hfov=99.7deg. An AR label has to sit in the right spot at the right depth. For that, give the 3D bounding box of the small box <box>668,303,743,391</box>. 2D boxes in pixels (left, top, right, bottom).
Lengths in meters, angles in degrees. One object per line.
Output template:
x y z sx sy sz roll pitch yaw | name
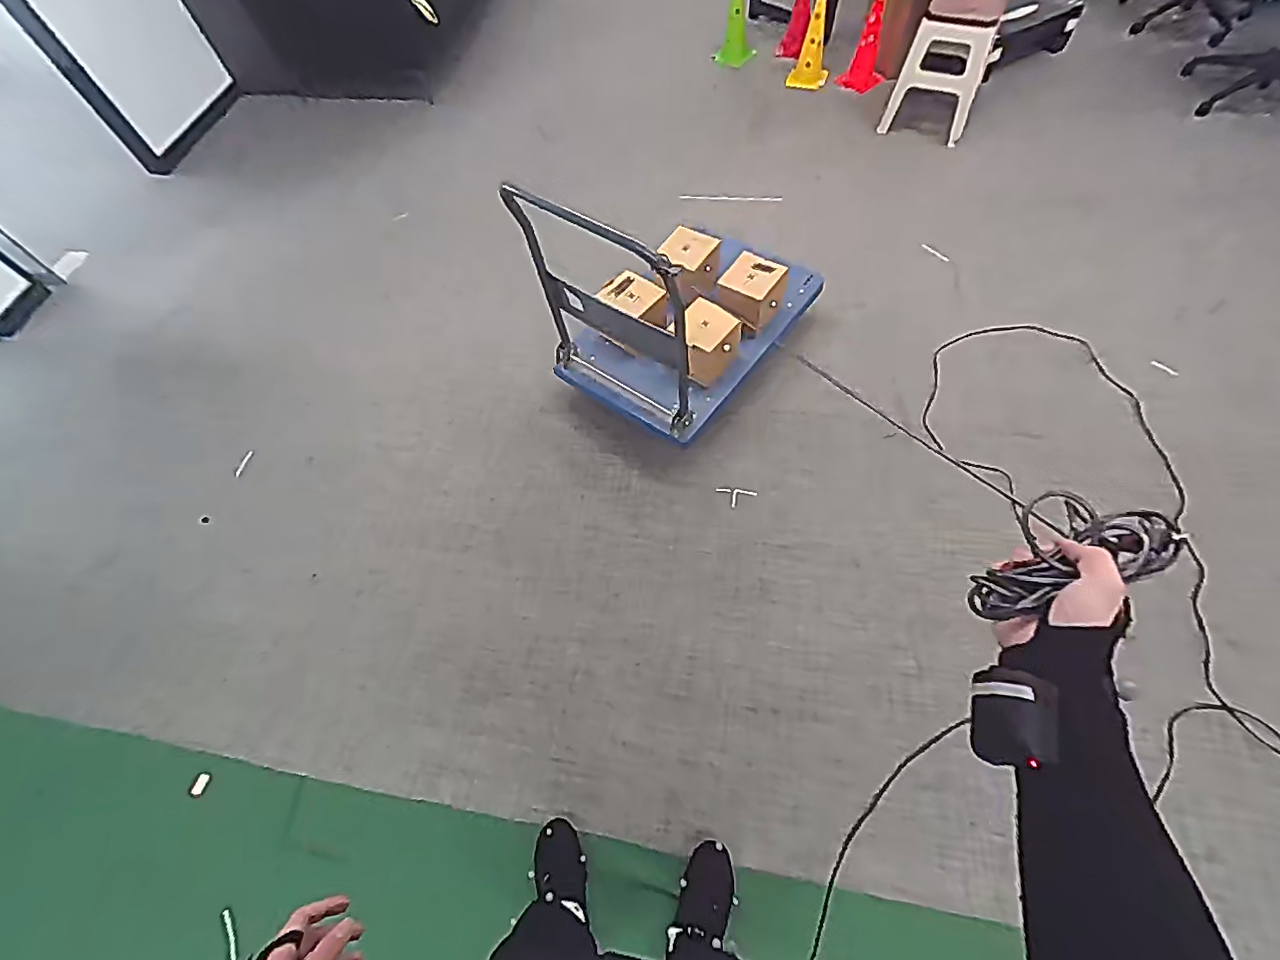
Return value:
0.203 -0.419 1.719 0.168 0.176 0.179 34 70 21 | small box

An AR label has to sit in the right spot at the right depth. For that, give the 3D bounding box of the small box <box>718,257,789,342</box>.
0.369 -0.599 1.801 0.168 0.176 0.179 31 69 21 | small box

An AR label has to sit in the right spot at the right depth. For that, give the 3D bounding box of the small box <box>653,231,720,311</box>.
0.164 -0.726 1.891 0.168 0.176 0.179 30 67 19 | small box
